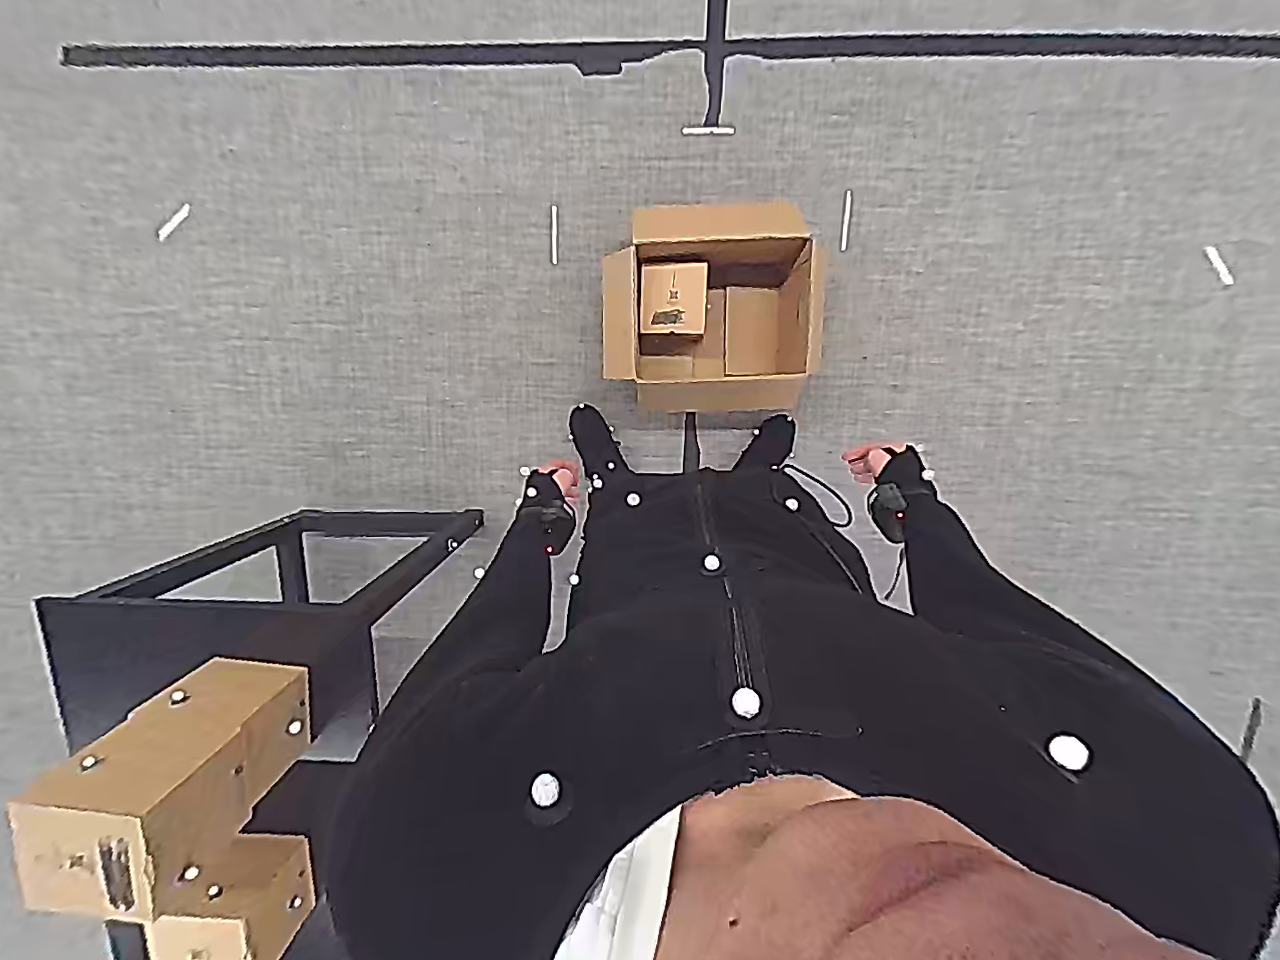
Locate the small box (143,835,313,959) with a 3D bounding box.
[{"bbox_3d":[-0.740,0.786,0.990,0.179,0.176,0.168,1,102,2],"label":"small box"}]

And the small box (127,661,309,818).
[{"bbox_3d":[-0.697,0.425,0.911,0.179,0.176,0.168,6,103,1],"label":"small box"}]
